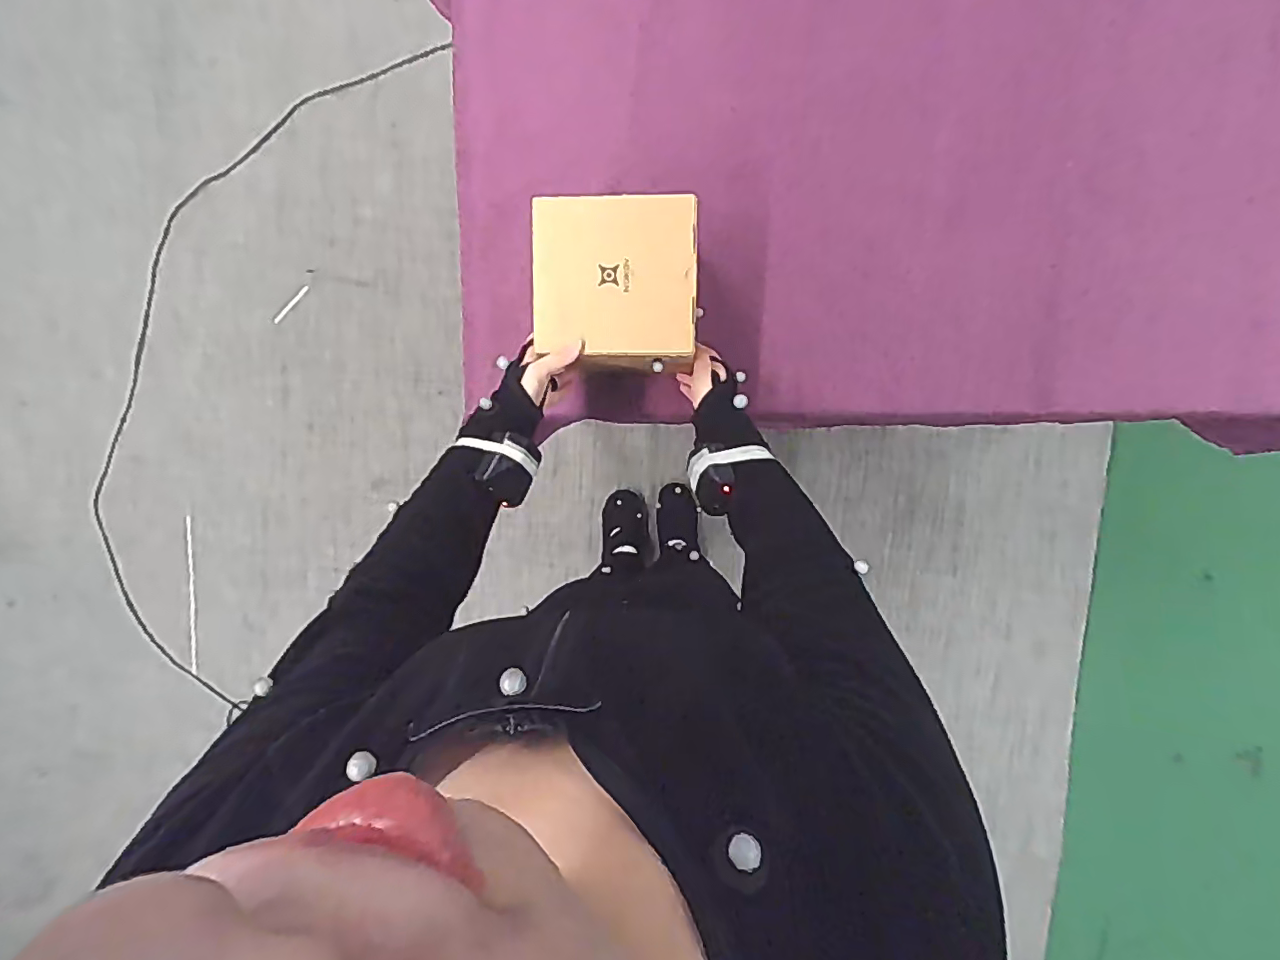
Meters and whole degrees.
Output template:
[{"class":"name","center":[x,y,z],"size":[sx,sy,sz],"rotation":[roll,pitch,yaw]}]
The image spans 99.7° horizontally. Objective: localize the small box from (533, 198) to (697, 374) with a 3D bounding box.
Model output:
[{"class":"small box","center":[-0.024,-0.222,0.657],"size":[0.179,0.176,0.168],"rotation":[1,94,2]}]
